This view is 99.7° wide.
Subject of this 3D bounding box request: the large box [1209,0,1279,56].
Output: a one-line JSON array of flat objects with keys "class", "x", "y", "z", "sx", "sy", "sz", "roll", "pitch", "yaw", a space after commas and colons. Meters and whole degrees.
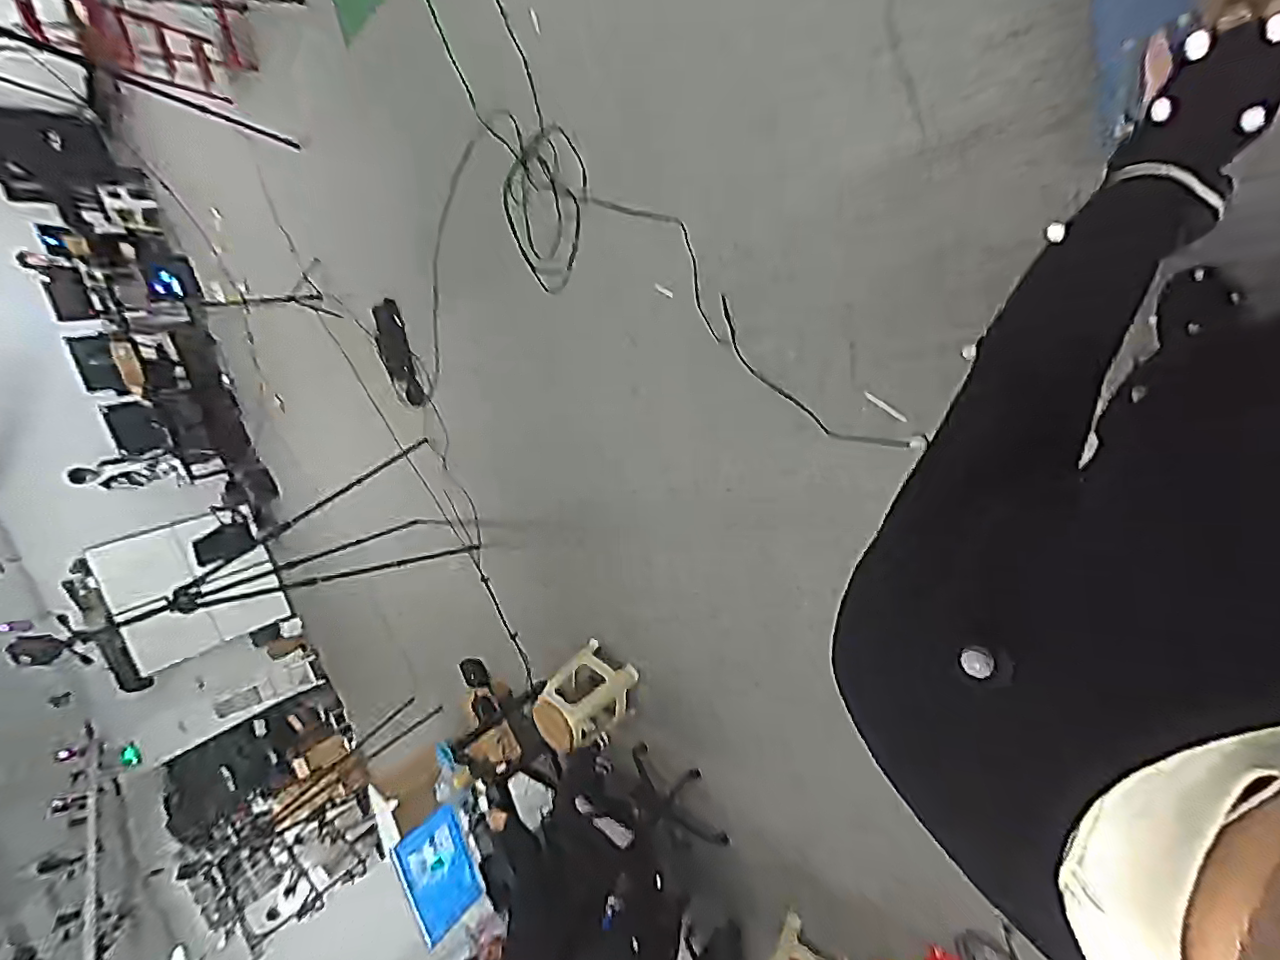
[{"class": "large box", "x": 0.913, "y": -0.855, "z": 0.660, "sx": 0.320, "sy": 0.320, "sz": 0.408, "roll": -5, "pitch": 104, "yaw": 44}]
